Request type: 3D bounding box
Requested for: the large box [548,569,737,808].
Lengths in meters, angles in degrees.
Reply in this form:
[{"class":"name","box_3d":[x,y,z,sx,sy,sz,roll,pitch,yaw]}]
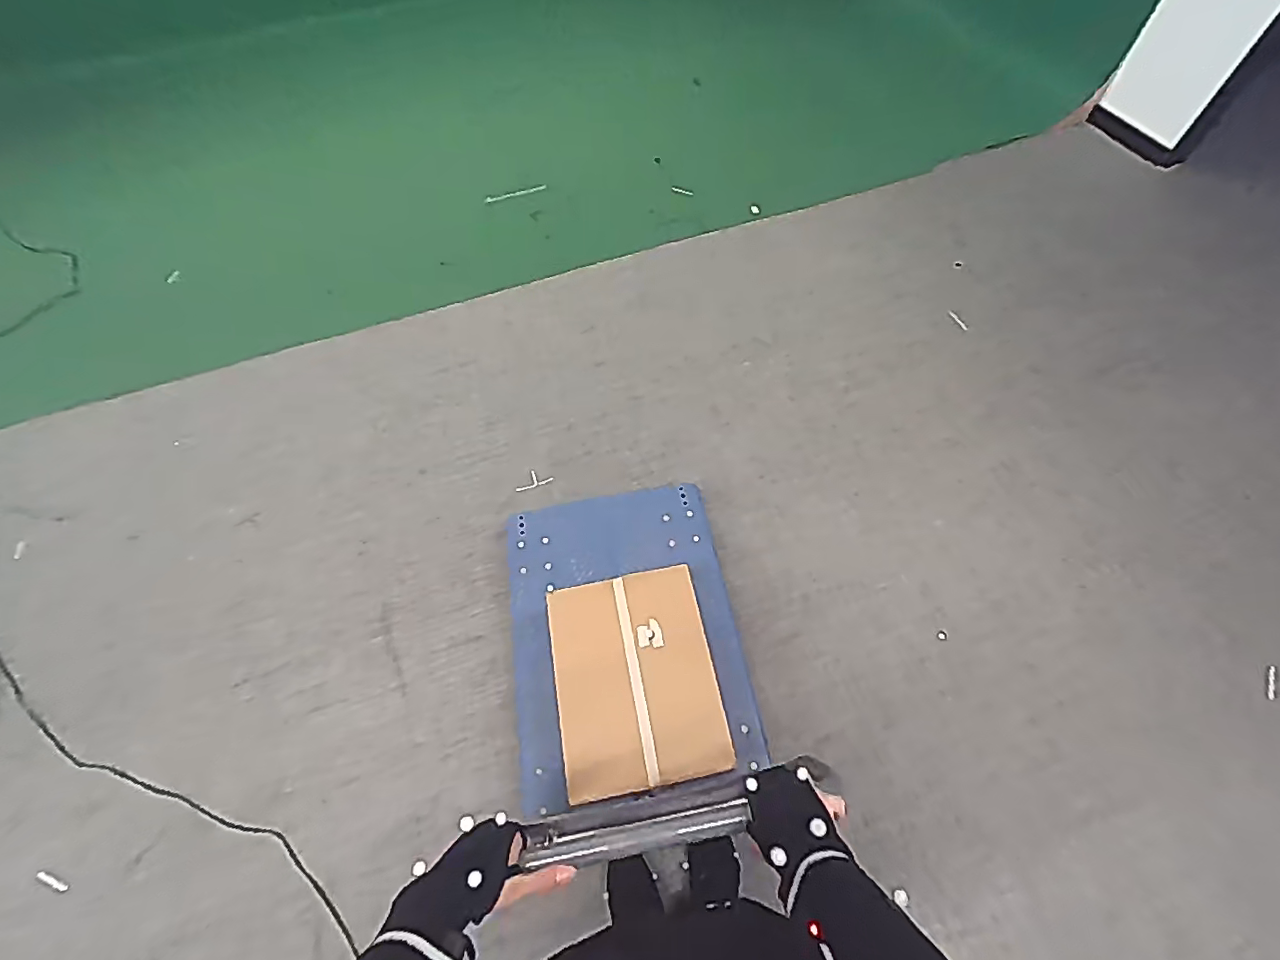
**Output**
[{"class":"large box","box_3d":[-0.002,0.463,1.197,0.320,0.320,0.408,-10,59,-4]}]
